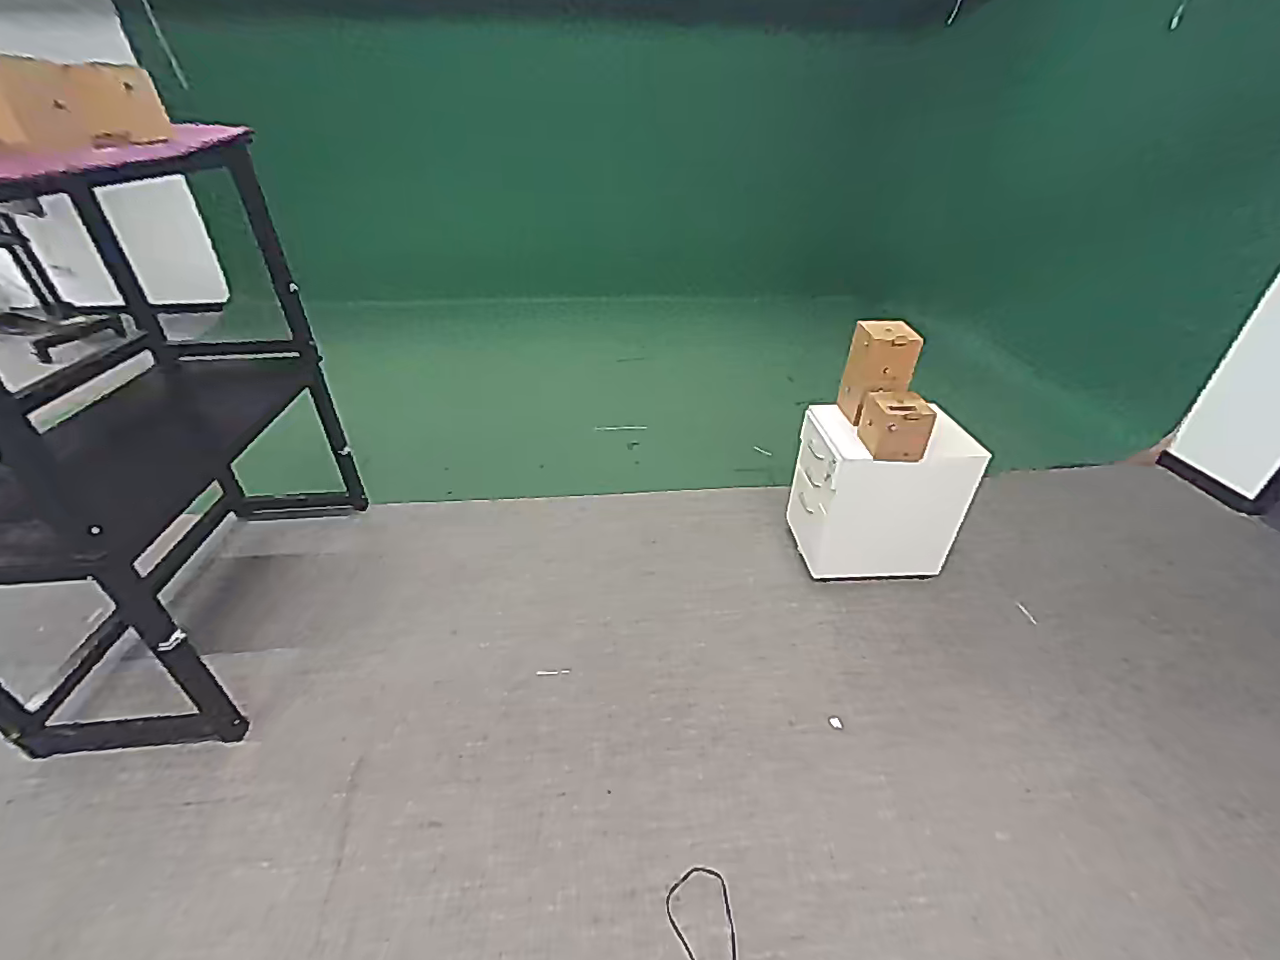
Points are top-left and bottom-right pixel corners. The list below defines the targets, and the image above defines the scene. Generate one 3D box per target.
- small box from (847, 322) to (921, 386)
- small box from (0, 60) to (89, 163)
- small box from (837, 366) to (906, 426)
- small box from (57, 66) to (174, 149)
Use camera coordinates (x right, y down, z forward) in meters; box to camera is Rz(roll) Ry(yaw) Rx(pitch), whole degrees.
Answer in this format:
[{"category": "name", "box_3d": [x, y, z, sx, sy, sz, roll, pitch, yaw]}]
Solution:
[{"category": "small box", "box_3d": [0.854, -0.448, 1.915, 0.168, 0.176, 0.179, -1, 37, -2]}, {"category": "small box", "box_3d": [-1.331, -0.772, 1.134, 0.168, 0.176, 0.179, -4, 36, -5]}, {"category": "small box", "box_3d": [0.851, -0.314, 2.008, 0.168, 0.176, 0.179, -2, 35, -3]}, {"category": "small box", "box_3d": [-1.386, -0.970, 1.416, 0.168, 0.176, 0.179, -4, 35, -2]}]
